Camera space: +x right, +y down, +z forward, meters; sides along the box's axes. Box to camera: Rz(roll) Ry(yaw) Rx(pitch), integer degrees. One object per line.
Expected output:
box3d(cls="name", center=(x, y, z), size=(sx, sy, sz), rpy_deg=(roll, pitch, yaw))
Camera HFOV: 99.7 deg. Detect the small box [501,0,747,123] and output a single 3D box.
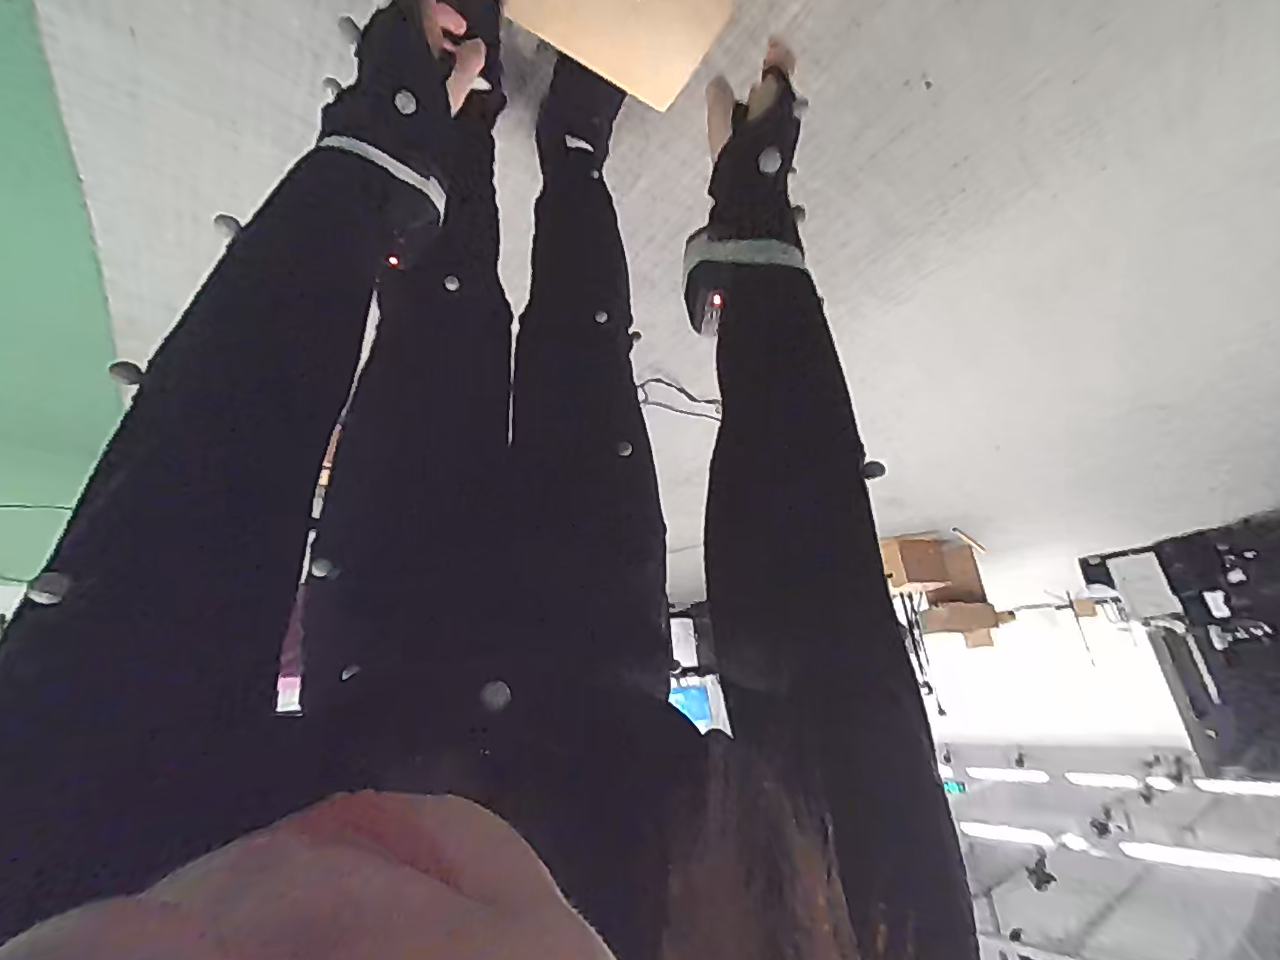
box3d(cls="small box", center=(-0.007, -0.471, 0.460), size=(0.168, 0.176, 0.179), rpy_deg=(9, 155, -34))
